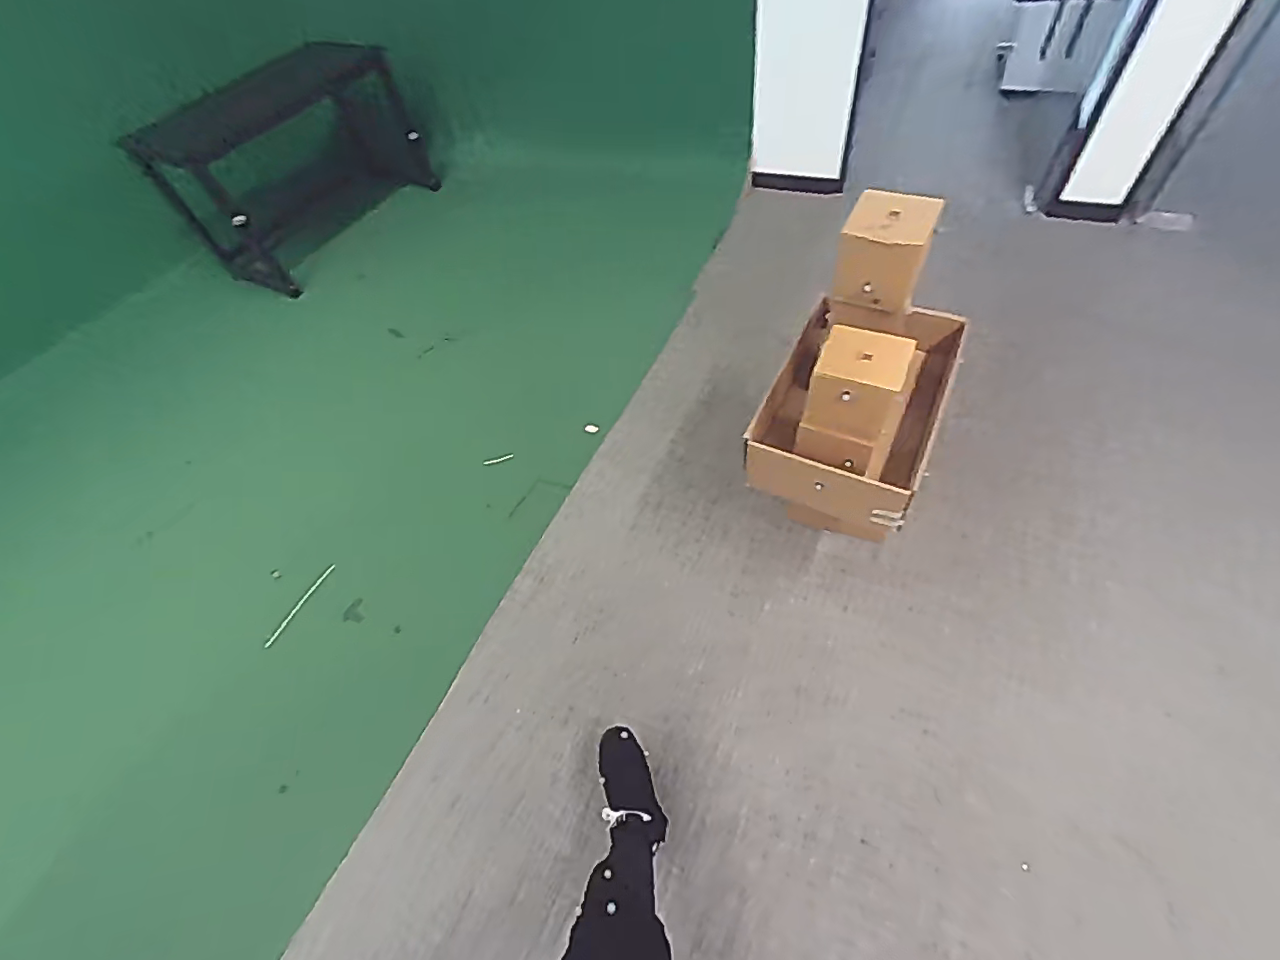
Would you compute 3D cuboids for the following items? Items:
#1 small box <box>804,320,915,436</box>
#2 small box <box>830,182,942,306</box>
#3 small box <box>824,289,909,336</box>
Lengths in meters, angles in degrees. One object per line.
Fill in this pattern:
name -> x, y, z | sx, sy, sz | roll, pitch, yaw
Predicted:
small box -> 0.476, -0.221, 1.191 | 0.179, 0.176, 0.168 | 18, 59, 21
small box -> 0.528, -0.513, 1.179 | 0.168, 0.176, 0.179 | 21, 63, 23
small box -> 0.558, -0.436, 1.324 | 0.168, 0.176, 0.179 | 15, 61, 18
